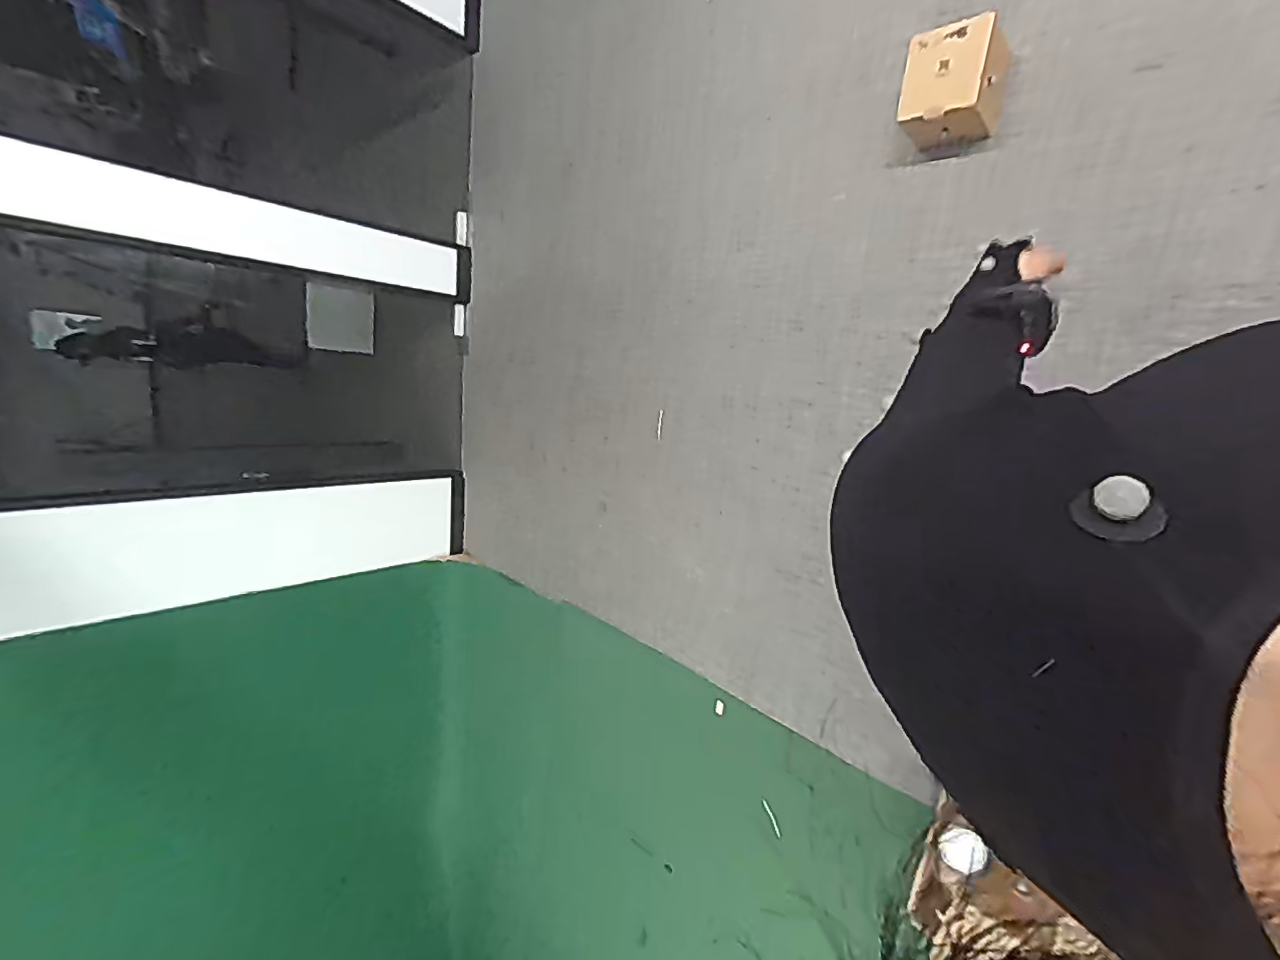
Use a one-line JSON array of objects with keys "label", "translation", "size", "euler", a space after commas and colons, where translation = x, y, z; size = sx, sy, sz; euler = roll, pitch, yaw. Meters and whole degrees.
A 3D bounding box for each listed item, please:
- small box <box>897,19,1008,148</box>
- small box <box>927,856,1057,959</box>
[{"label": "small box", "translation": [0.716, -0.887, 1.235], "size": [0.168, 0.176, 0.179], "euler": [17, 106, 42]}, {"label": "small box", "translation": [0.709, 0.919, 1.085], "size": [0.168, 0.176, 0.179], "euler": [21, 106, 41]}]
